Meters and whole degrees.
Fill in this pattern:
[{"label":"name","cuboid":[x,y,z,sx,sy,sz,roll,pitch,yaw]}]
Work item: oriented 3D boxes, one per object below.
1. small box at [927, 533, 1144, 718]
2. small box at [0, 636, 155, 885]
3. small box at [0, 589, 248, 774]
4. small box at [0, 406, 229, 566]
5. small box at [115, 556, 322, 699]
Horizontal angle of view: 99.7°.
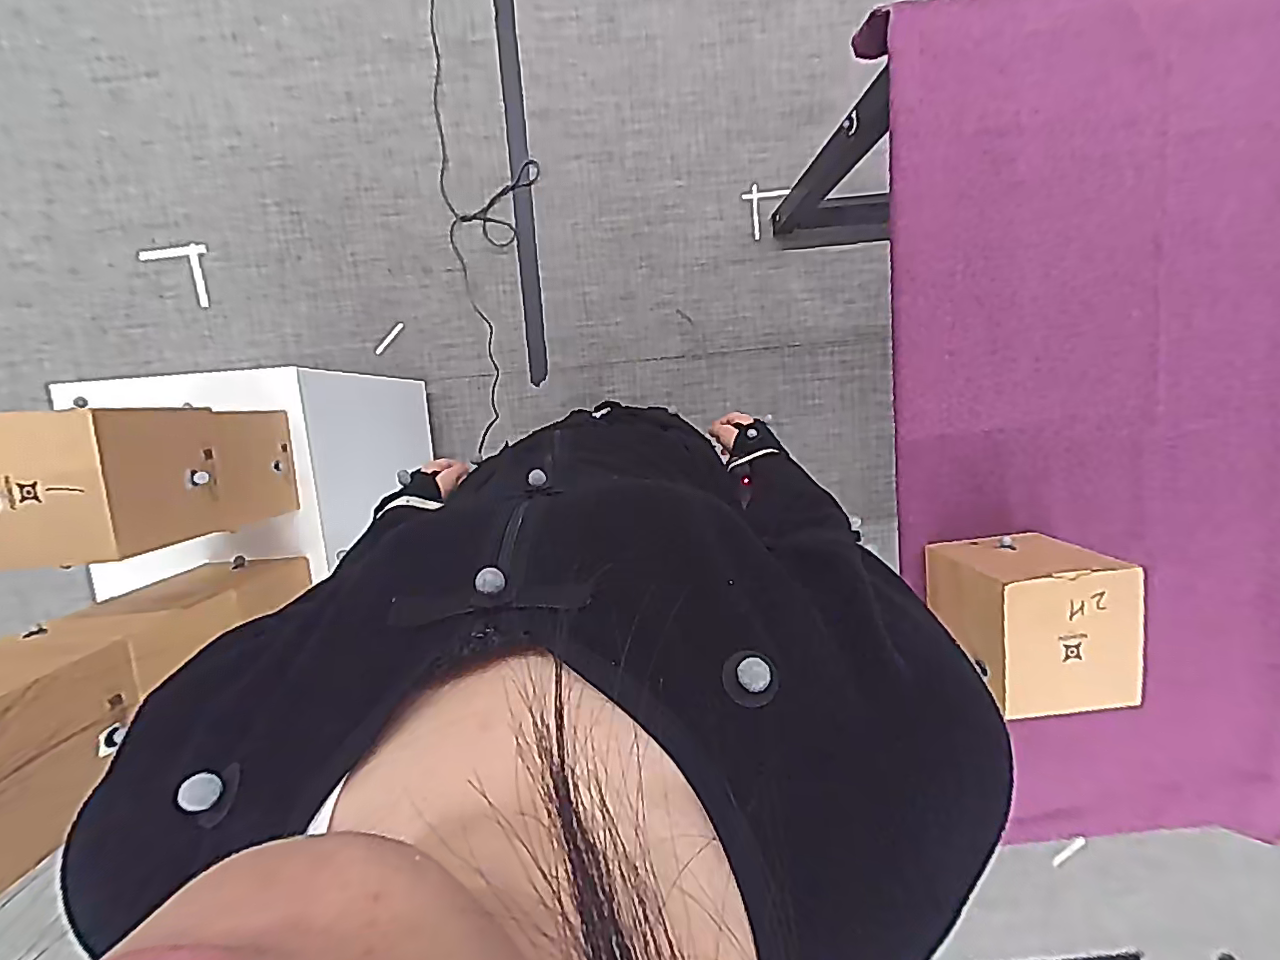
[{"label":"small box","cuboid":[0.503,0.180,0.712,0.168,0.176,0.179,-6,98,-1]},{"label":"small box","cuboid":[-0.630,0.265,0.513,0.179,0.176,0.168,-6,99,-1]},{"label":"small box","cuboid":[-0.630,0.244,0.674,0.179,0.176,0.168,-5,98,0]},{"label":"small box","cuboid":[-0.640,-0.002,0.637,0.179,0.176,0.168,-3,99,-2]},{"label":"small box","cuboid":[-0.634,0.222,0.835,0.179,0.176,0.168,-4,99,1]}]
